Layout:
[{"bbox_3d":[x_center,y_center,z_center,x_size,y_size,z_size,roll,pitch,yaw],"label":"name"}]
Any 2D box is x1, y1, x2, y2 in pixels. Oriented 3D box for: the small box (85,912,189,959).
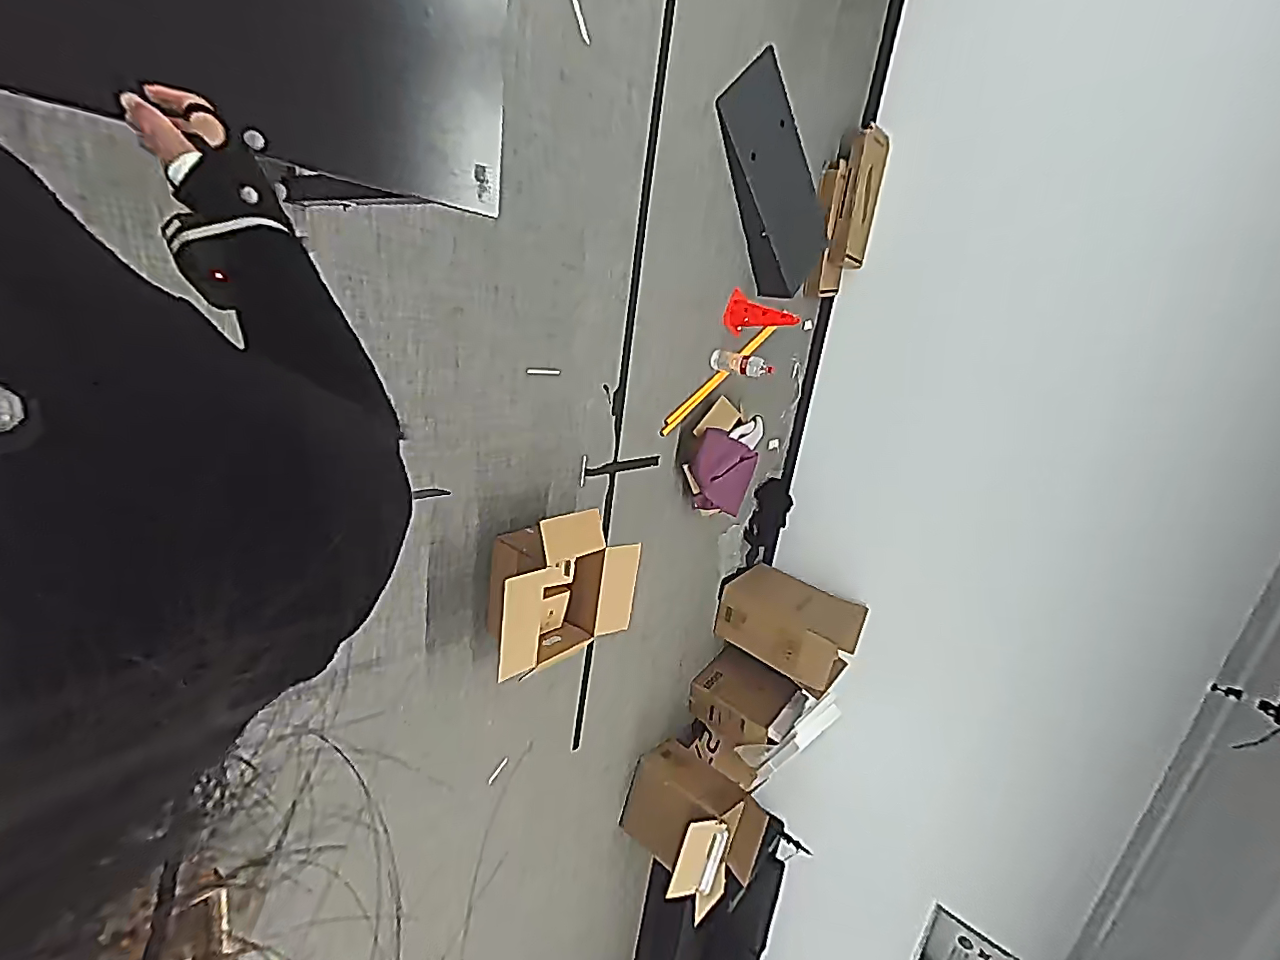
[{"bbox_3d":[-1.282,1.270,1.377,0.179,0.176,0.168,-7,110,-50],"label":"small box"}]
